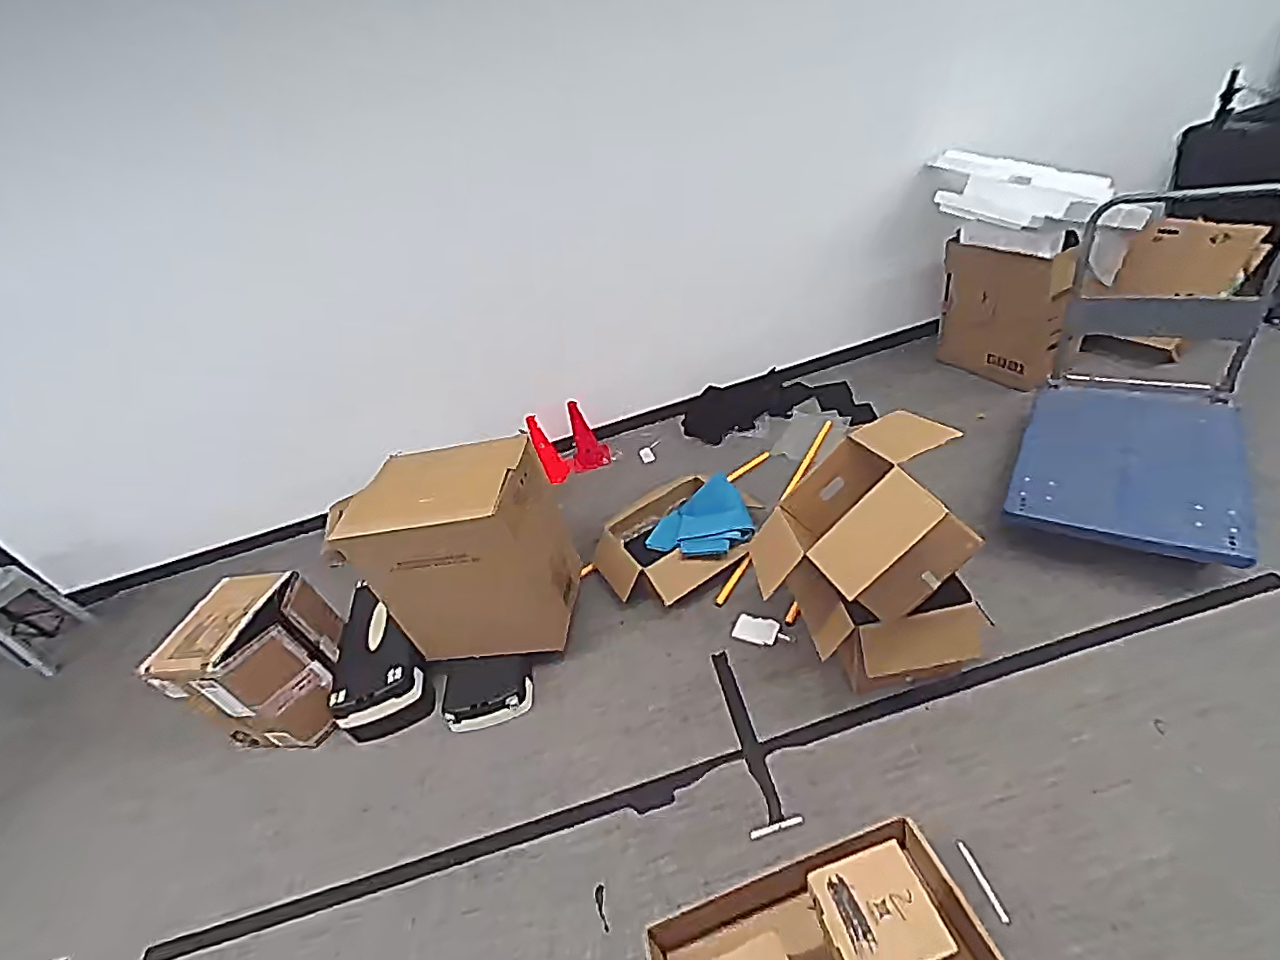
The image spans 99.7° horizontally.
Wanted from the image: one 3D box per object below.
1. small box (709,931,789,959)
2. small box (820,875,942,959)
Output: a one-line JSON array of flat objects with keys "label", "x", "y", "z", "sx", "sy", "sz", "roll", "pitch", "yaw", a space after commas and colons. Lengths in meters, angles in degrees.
[{"label": "small box", "x": 0.219, "y": 0.998, "z": 1.010, "sx": 0.179, "sy": 0.176, "sz": 0.168, "roll": -20, "pitch": 35, "yaw": -7}, {"label": "small box", "x": 0.463, "y": 0.910, "z": 1.033, "sx": 0.168, "sy": 0.176, "sz": 0.179, "roll": -21, "pitch": 36, "yaw": -4}]
